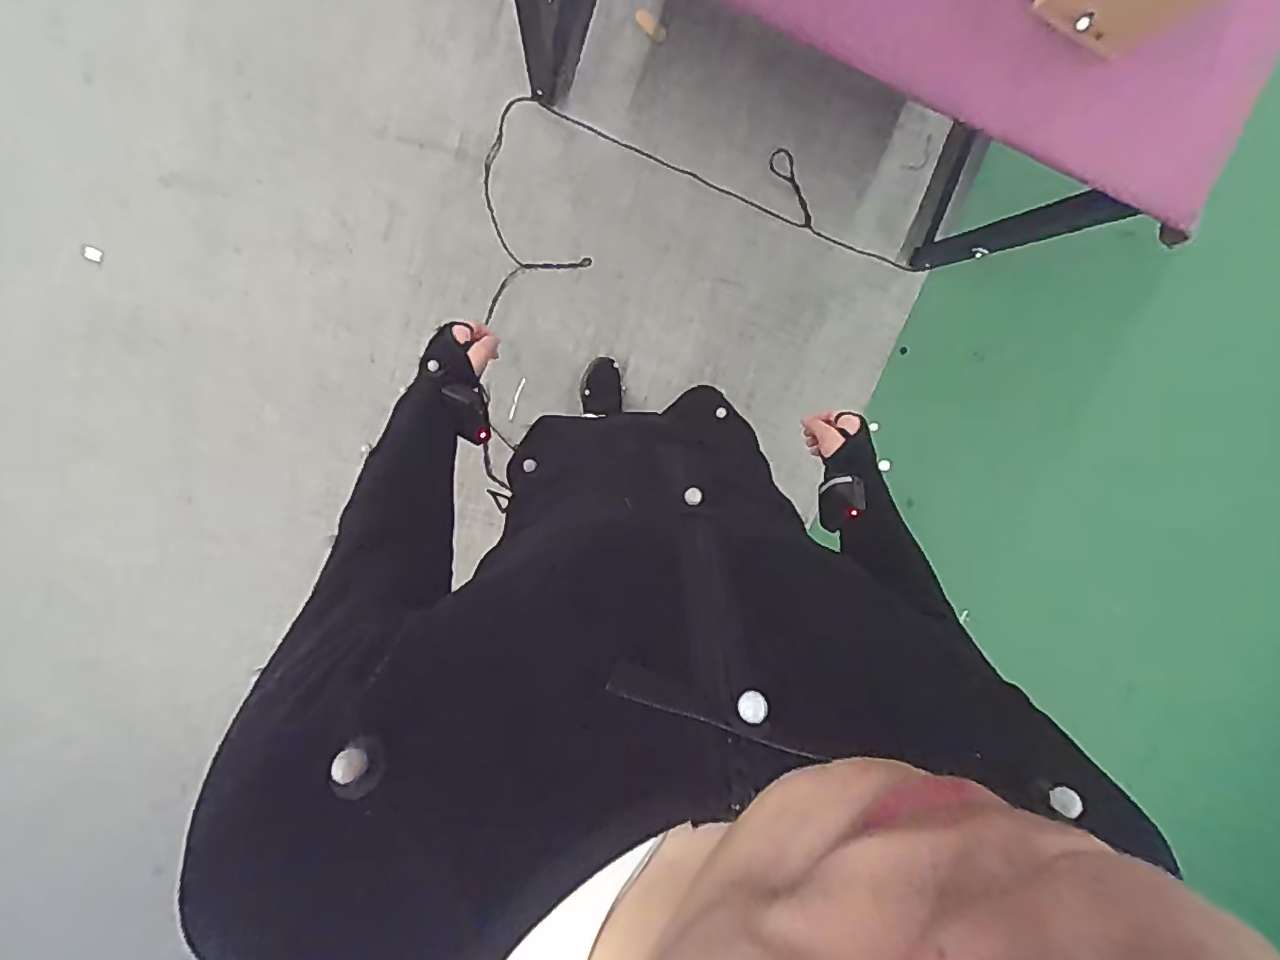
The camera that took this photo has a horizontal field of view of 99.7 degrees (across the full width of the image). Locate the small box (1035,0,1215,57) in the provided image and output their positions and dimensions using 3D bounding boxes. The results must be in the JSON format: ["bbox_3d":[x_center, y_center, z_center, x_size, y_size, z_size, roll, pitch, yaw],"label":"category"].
[{"bbox_3d":[0.674,-0.719,0.706,0.168,0.176,0.179,21,99,-9],"label":"small box"}]
